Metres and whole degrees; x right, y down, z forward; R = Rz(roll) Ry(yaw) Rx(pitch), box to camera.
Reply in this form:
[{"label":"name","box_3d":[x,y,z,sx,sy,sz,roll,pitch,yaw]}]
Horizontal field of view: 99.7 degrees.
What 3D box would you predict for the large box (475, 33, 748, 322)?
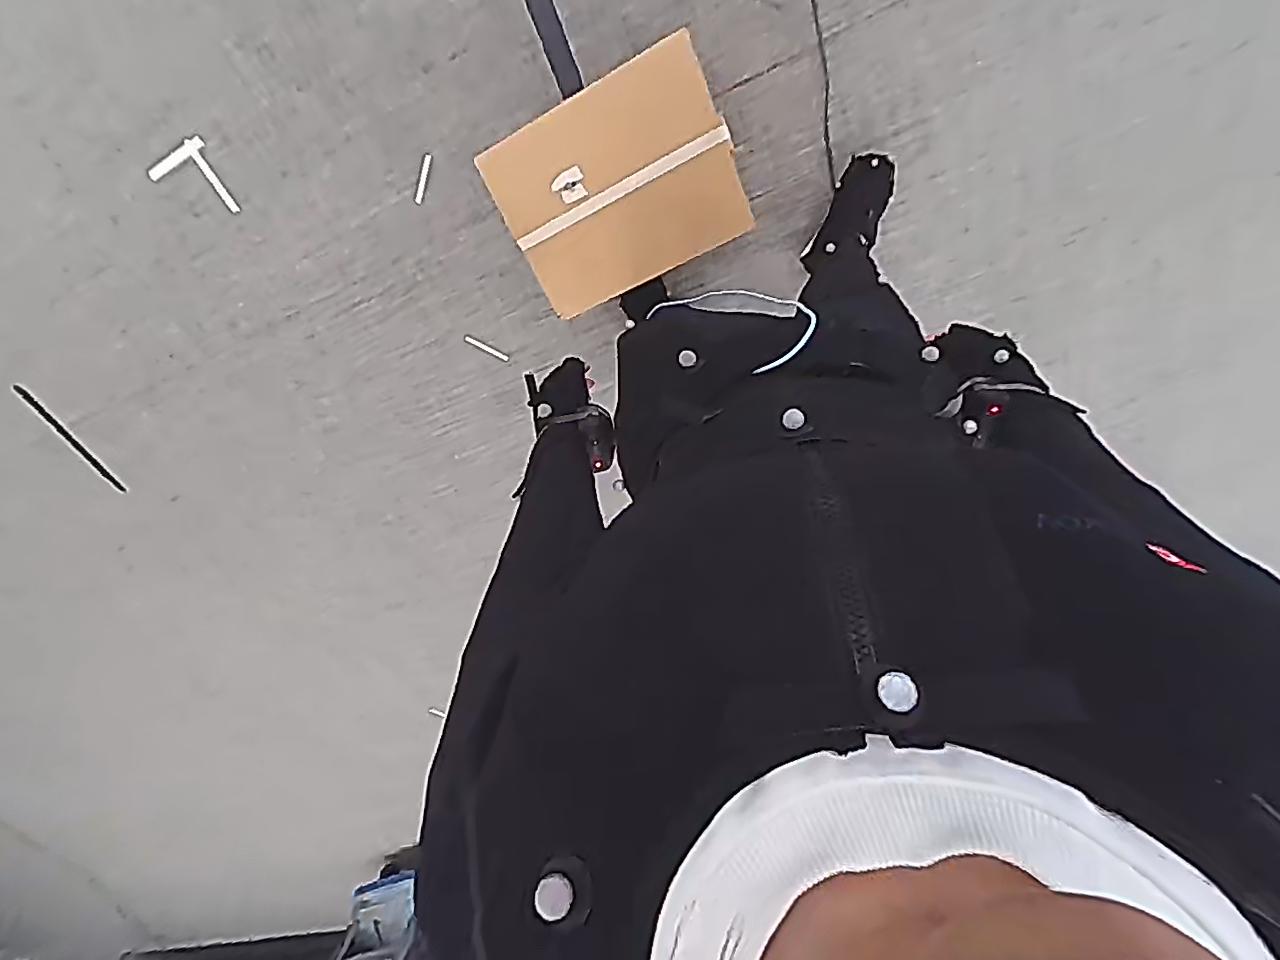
[{"label":"large box","box_3d":[-0.033,-0.573,1.072,0.408,0.320,0.320,-20,115,18]}]
